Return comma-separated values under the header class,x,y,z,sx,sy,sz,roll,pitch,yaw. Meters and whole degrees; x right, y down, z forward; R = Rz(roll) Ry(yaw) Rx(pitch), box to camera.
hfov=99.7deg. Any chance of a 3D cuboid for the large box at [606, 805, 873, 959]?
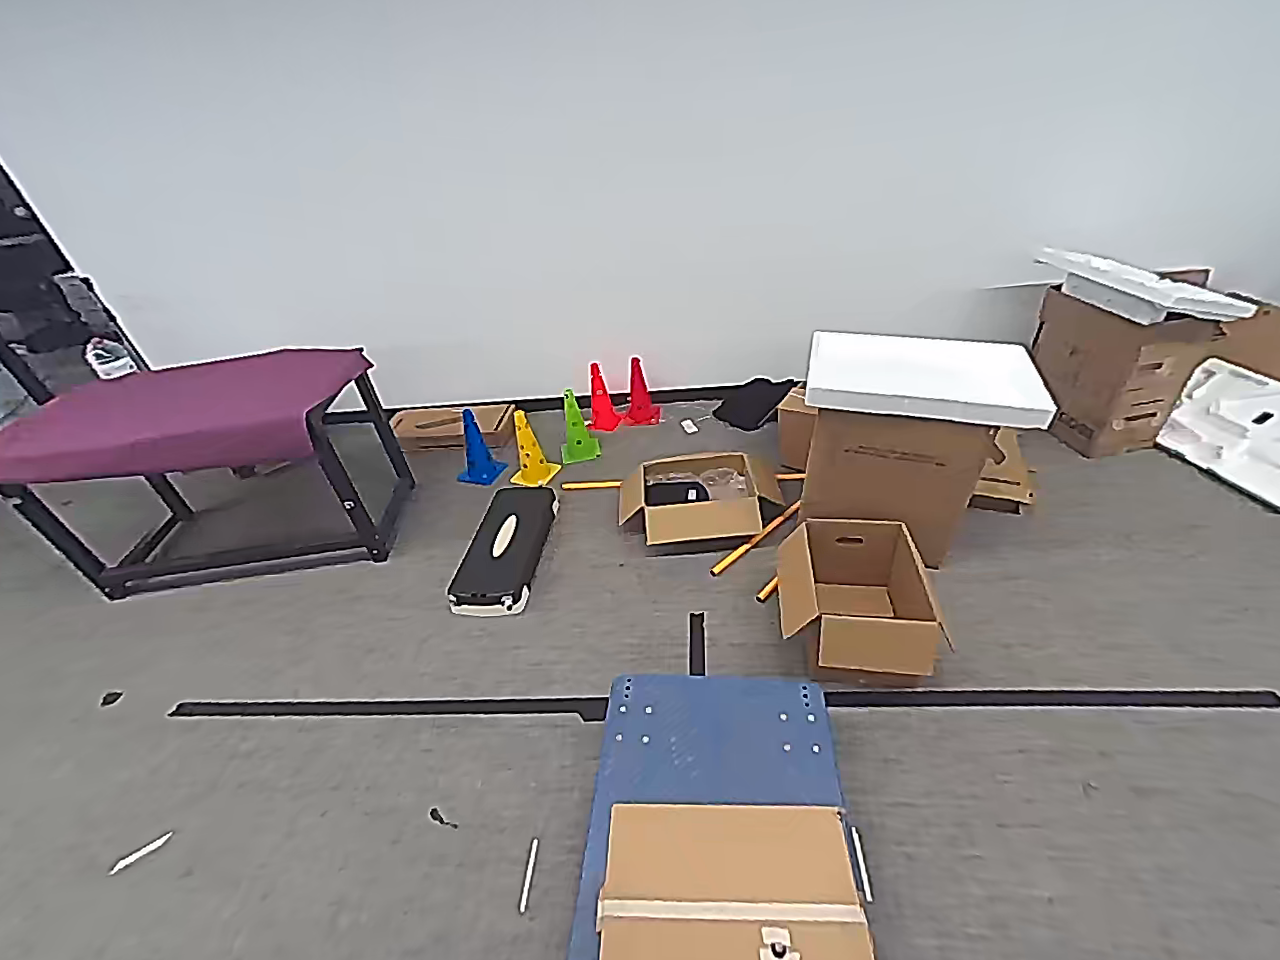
class,x,y,z,sx,sy,sz,roll,pitch,yaw
large box,0.157,0.802,0.942,0.408,0.320,0.320,-2,37,4
